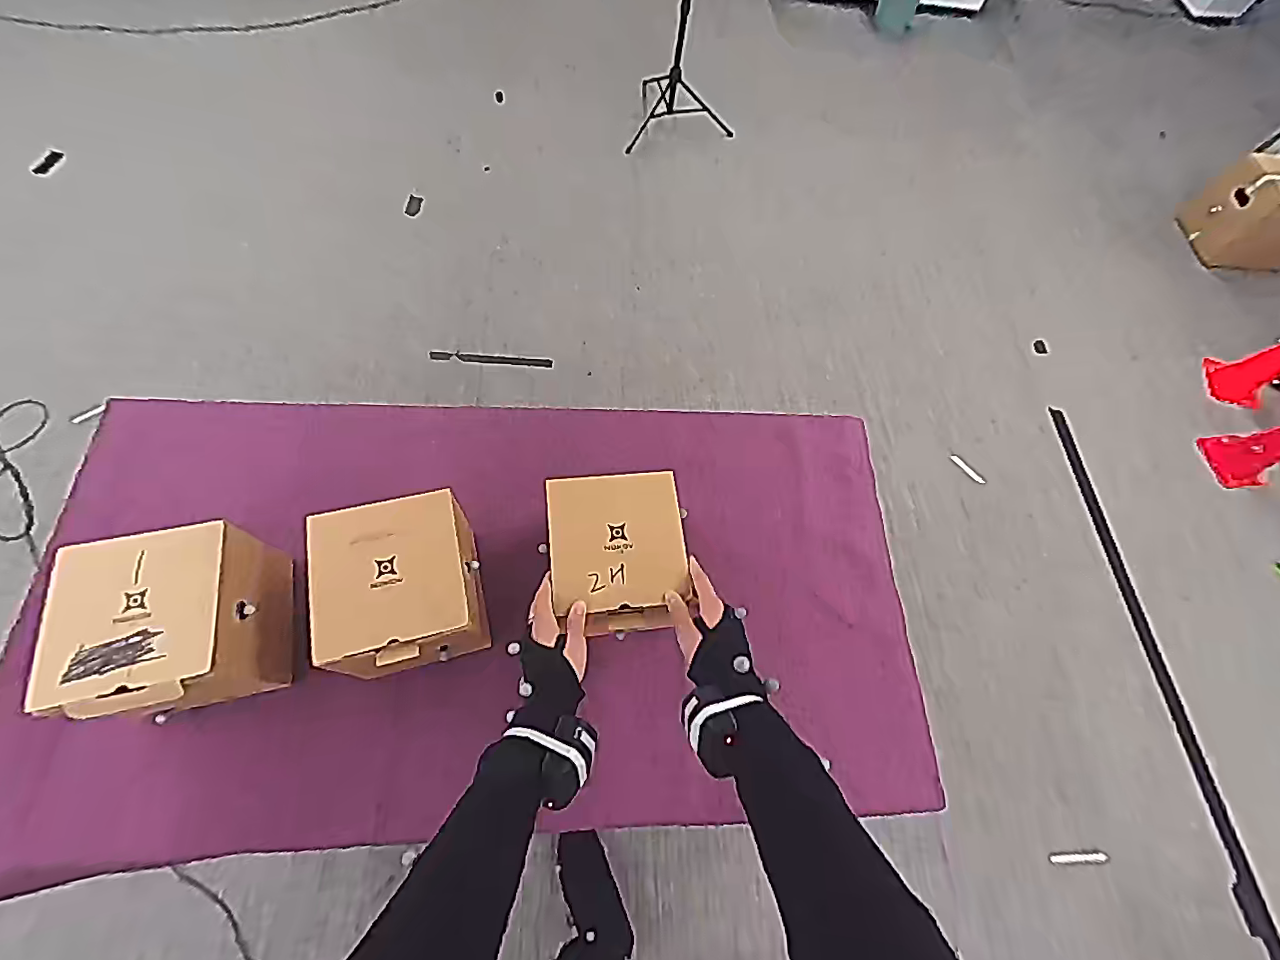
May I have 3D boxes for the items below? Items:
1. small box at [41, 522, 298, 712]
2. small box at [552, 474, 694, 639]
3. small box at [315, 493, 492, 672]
[{"bbox_3d":[-0.539,0.171,0.652,0.168,0.176,0.179,-10,66,-11],"label":"small box"},{"bbox_3d":[-0.033,0.109,0.735,0.168,0.176,0.179,-4,66,-7],"label":"small box"},{"bbox_3d":[-0.294,0.139,0.695,0.168,0.176,0.179,-11,67,-12],"label":"small box"}]
